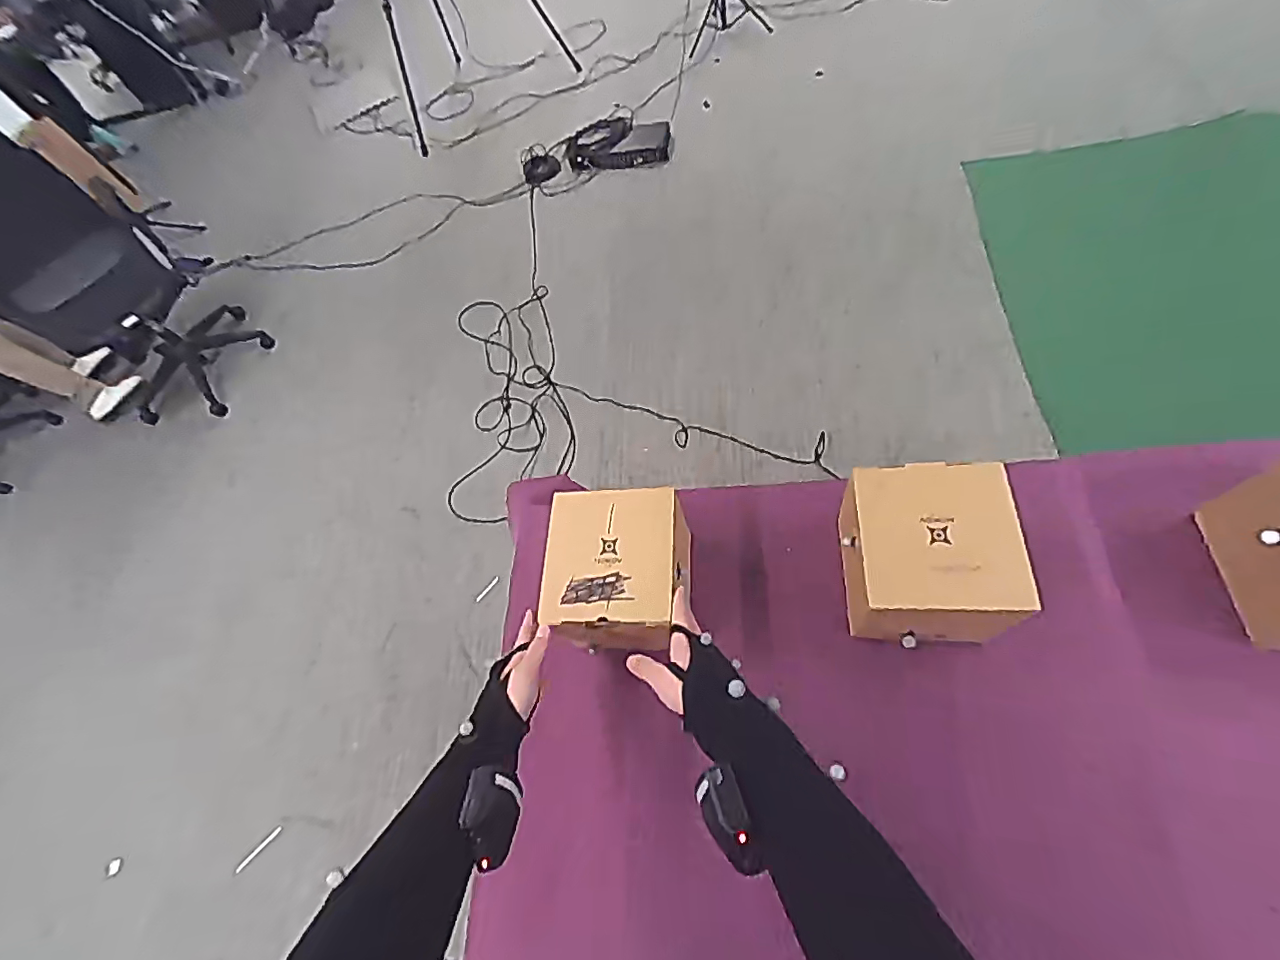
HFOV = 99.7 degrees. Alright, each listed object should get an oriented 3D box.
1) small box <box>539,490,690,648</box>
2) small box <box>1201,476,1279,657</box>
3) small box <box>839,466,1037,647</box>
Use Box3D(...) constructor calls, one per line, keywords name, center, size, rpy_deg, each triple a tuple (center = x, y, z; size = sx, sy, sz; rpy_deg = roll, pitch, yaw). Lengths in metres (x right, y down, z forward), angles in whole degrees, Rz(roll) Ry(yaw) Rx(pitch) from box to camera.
Box3D(name="small box", center=(-0.022, 0.129, 0.740), size=(0.168, 0.176, 0.179), rpy_deg=(-3, 62, 12))
Box3D(name="small box", center=(0.773, 0.084, 0.576), size=(0.168, 0.176, 0.179), rpy_deg=(-3, 61, 13))
Box3D(name="small box", center=(0.348, 0.098, 0.672), size=(0.168, 0.176, 0.179), rpy_deg=(-1, 63, 13))
